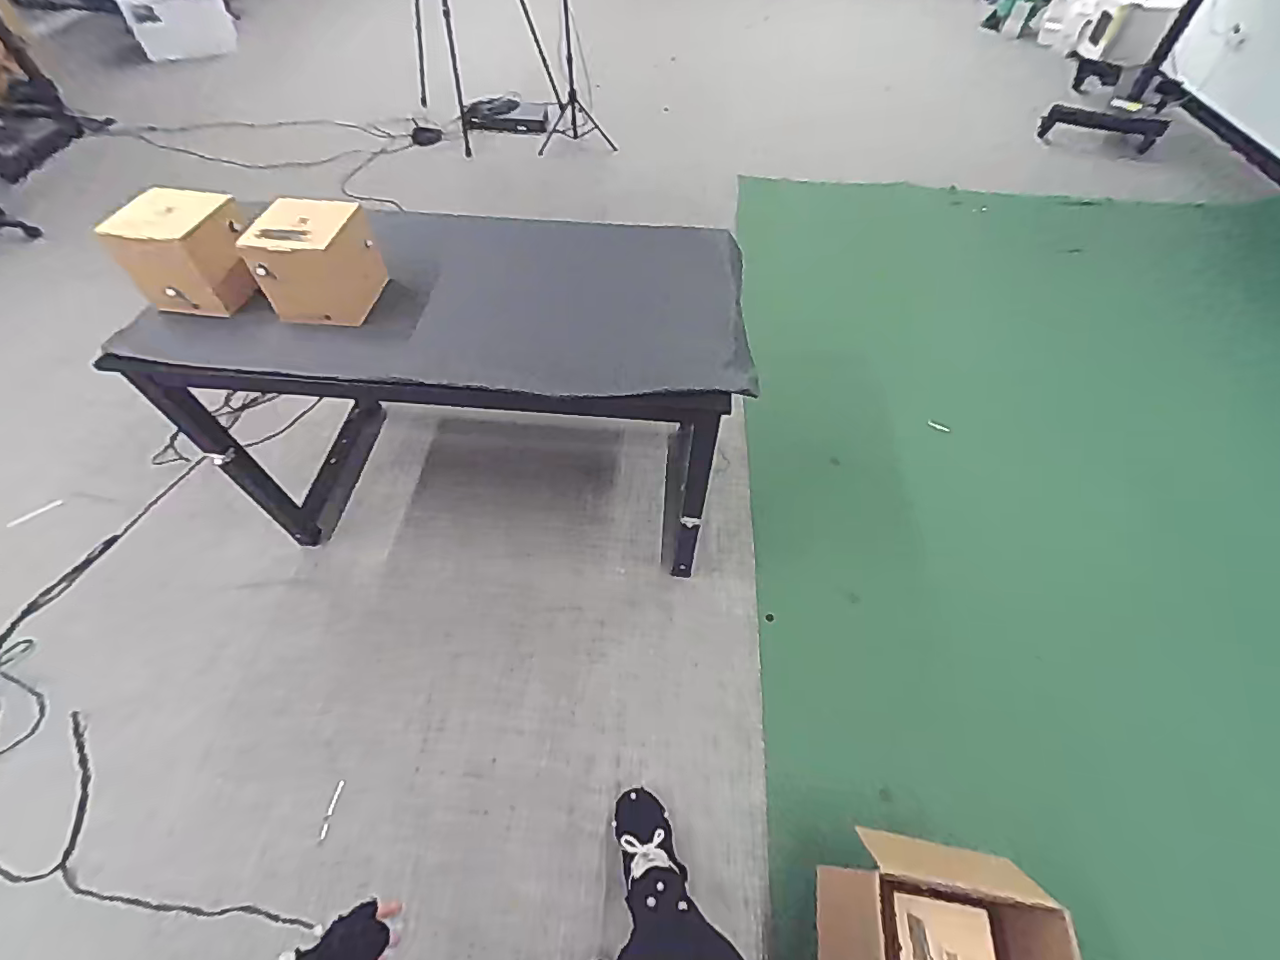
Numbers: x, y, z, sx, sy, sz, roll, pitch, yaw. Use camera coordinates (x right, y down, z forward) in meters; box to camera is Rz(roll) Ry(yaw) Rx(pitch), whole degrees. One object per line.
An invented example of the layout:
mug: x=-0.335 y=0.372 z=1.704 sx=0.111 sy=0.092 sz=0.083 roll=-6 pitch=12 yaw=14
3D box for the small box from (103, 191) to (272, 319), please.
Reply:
small box: x=-0.892 y=-0.453 z=1.094 sx=0.168 sy=0.176 sz=0.179 roll=6 pitch=53 yaw=3
